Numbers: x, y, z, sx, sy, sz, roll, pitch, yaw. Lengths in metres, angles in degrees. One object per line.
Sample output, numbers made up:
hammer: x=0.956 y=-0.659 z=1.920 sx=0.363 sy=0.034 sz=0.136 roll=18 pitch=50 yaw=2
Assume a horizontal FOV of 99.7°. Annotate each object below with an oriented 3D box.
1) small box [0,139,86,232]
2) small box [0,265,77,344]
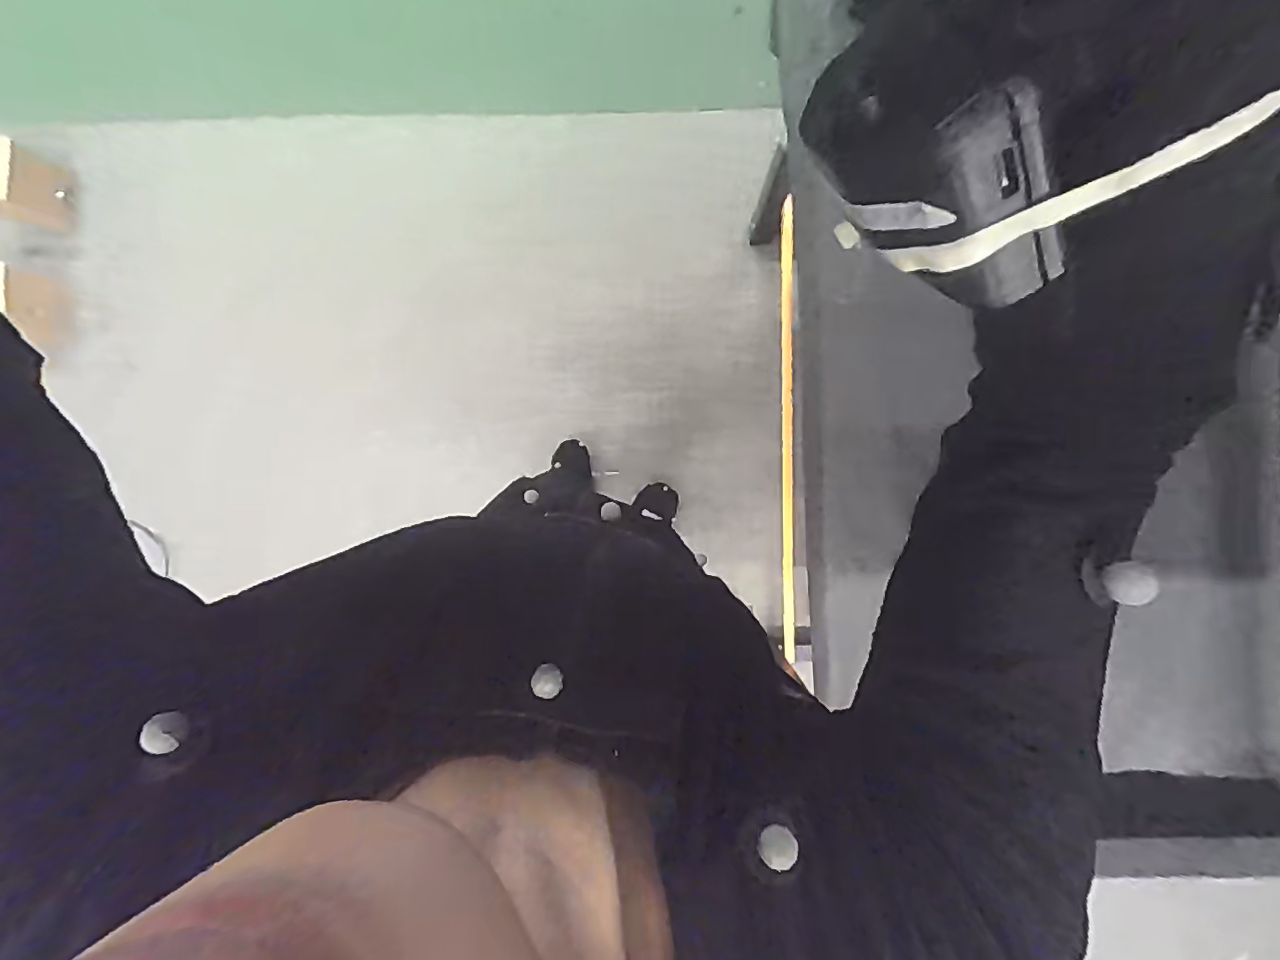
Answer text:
small box: x=-1.687 y=-0.797 z=1.472 sx=0.179 sy=0.176 sz=0.168 roll=4 pitch=90 yaw=1
small box: x=-1.696 y=-0.471 z=1.470 sx=0.179 sy=0.176 sz=0.168 roll=0 pitch=89 yaw=3
